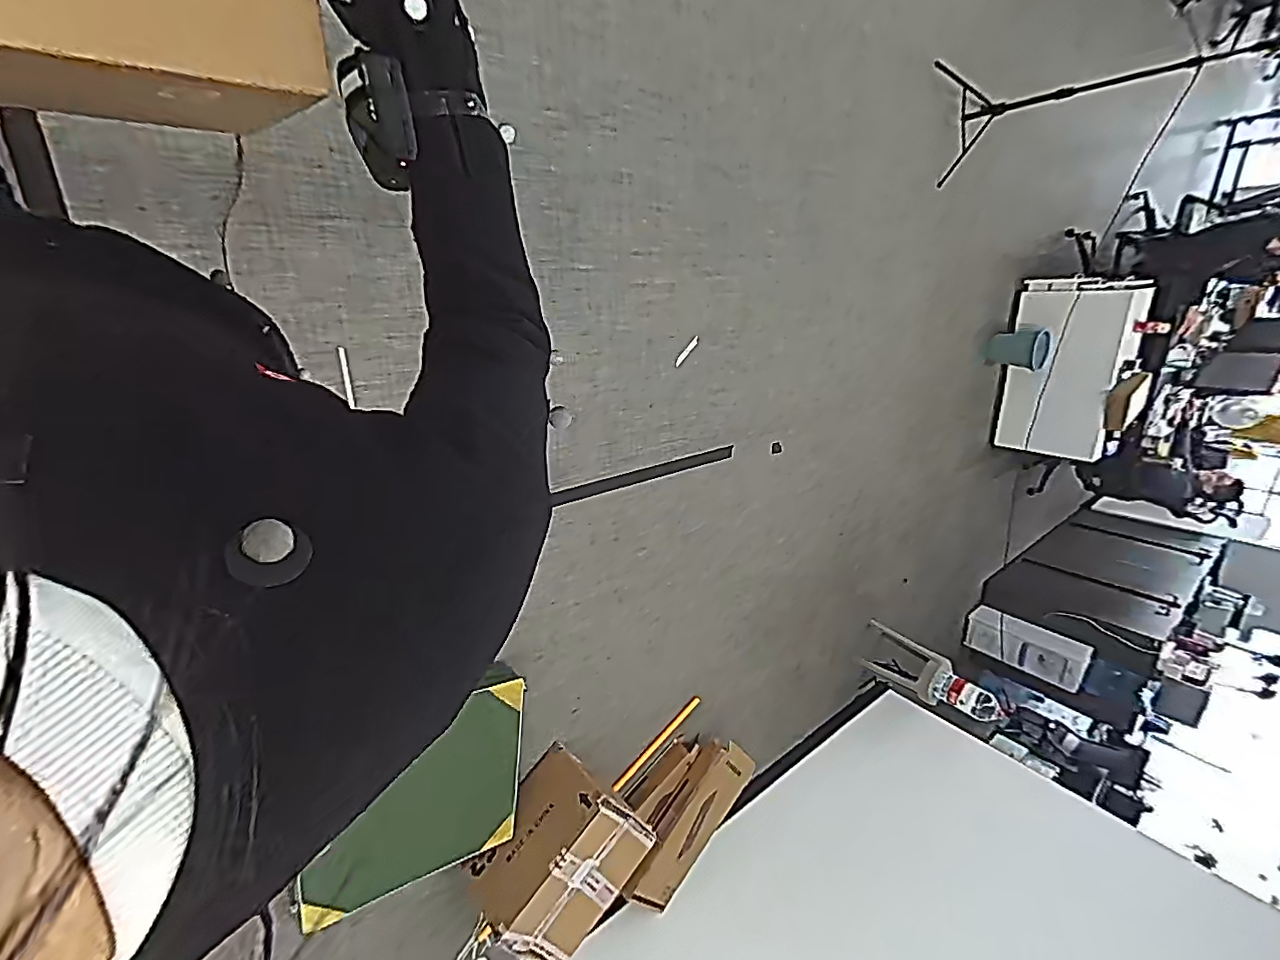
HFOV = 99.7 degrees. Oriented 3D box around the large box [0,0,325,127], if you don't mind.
[{"bbox_3d":[-0.446,-0.390,0.268,0.408,0.320,0.320,-19,124,-37],"label":"large box"}]
